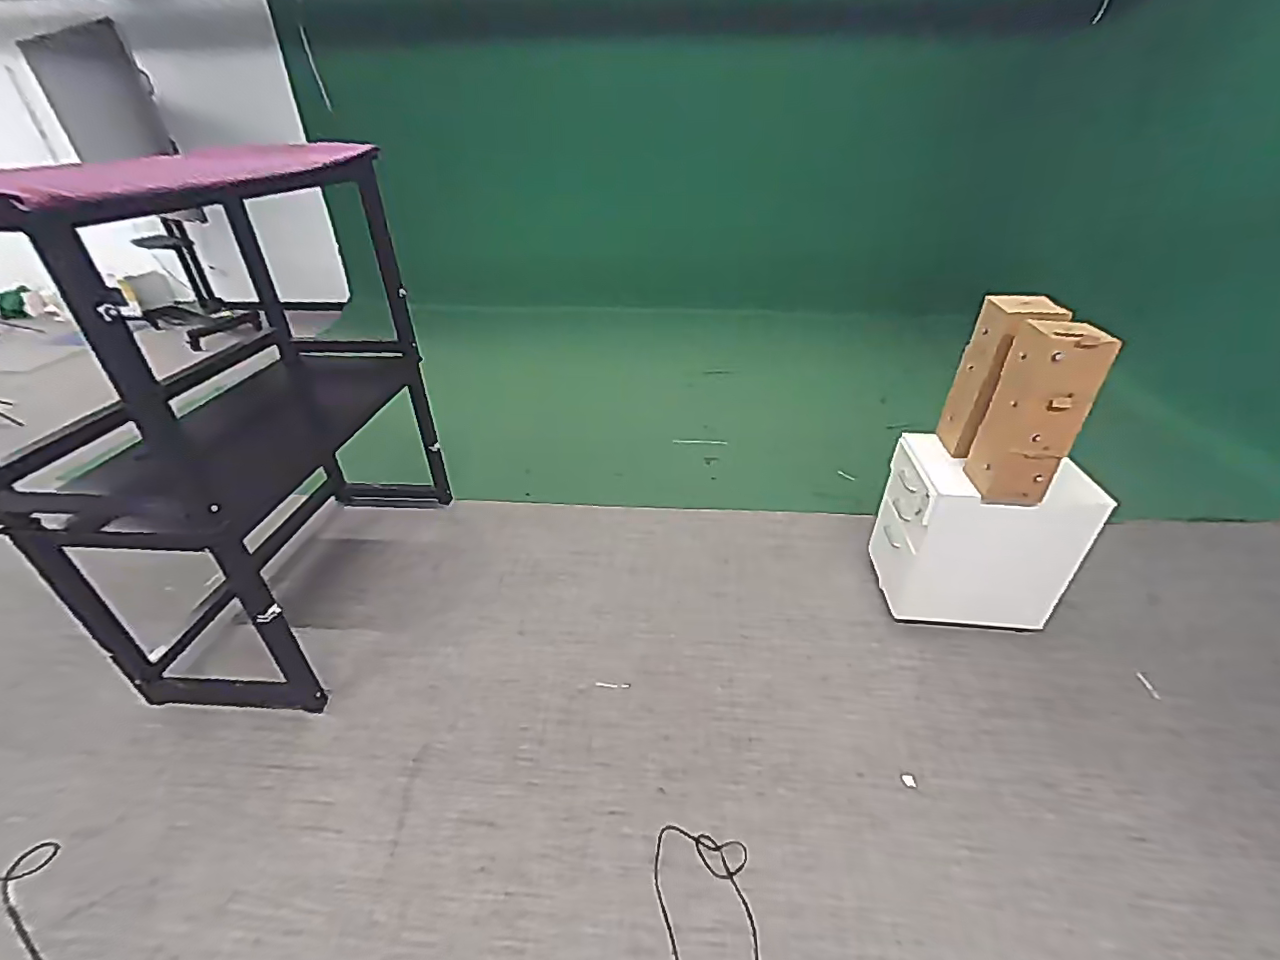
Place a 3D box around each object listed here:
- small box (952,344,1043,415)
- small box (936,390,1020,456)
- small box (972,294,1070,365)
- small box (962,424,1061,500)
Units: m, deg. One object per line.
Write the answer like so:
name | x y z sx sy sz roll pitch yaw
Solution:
small box | 1.146 -0.328 1.752 0.168 0.176 0.179 3 36 5
small box | 1.142 -0.192 1.845 0.168 0.176 0.179 3 35 6
small box | 1.149 -0.460 1.653 0.179 0.176 0.168 3 36 5
small box | 1.119 -0.054 1.642 0.168 0.176 0.179 4 32 4
